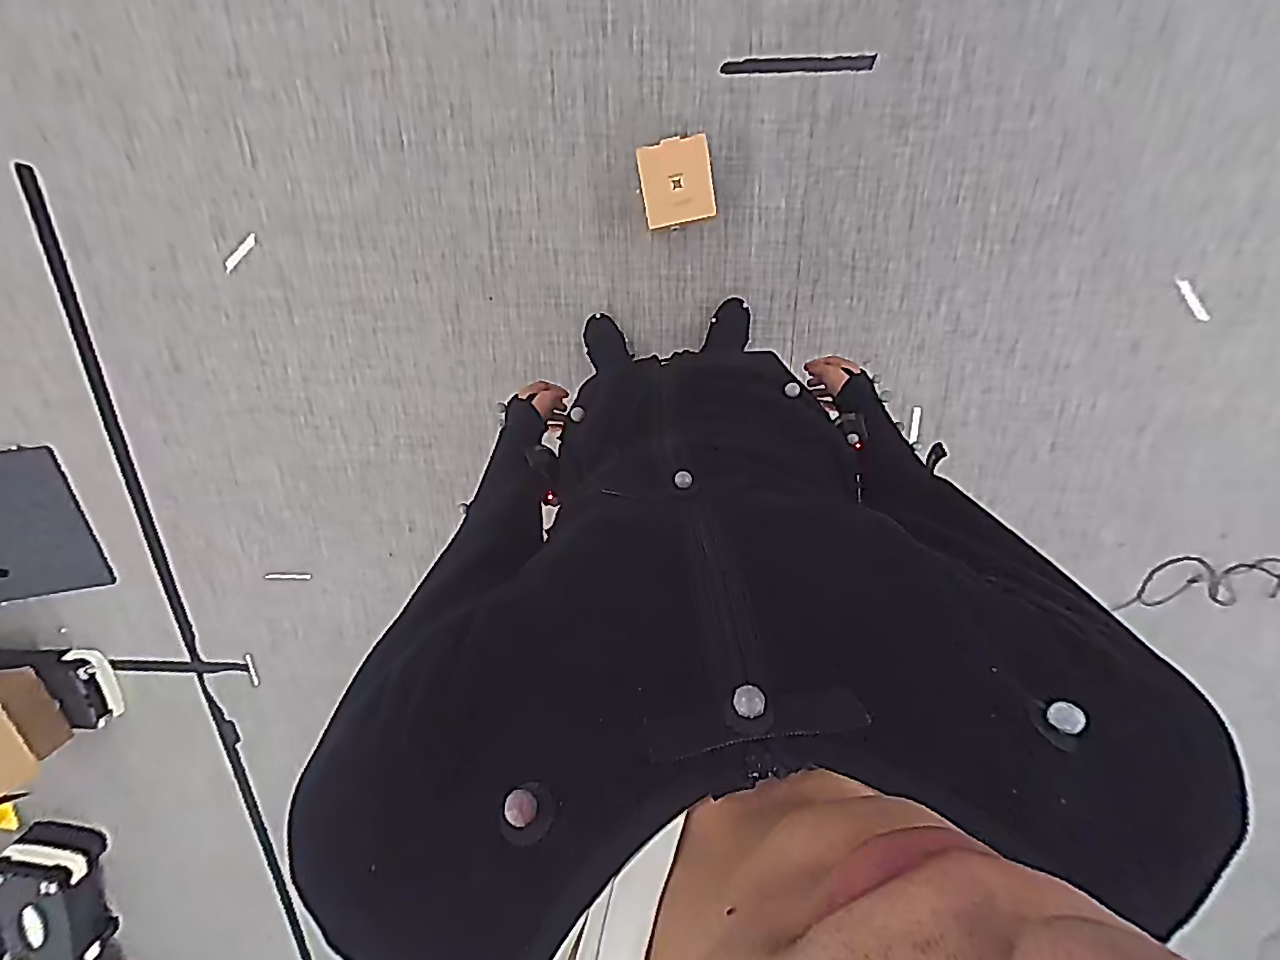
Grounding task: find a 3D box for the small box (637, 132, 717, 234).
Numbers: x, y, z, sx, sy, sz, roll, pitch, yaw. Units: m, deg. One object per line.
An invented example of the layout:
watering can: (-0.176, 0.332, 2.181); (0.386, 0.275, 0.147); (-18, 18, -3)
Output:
small box: (0.088, -0.718, 1.325); (0.168, 0.176, 0.179); (-10, 110, 5)
